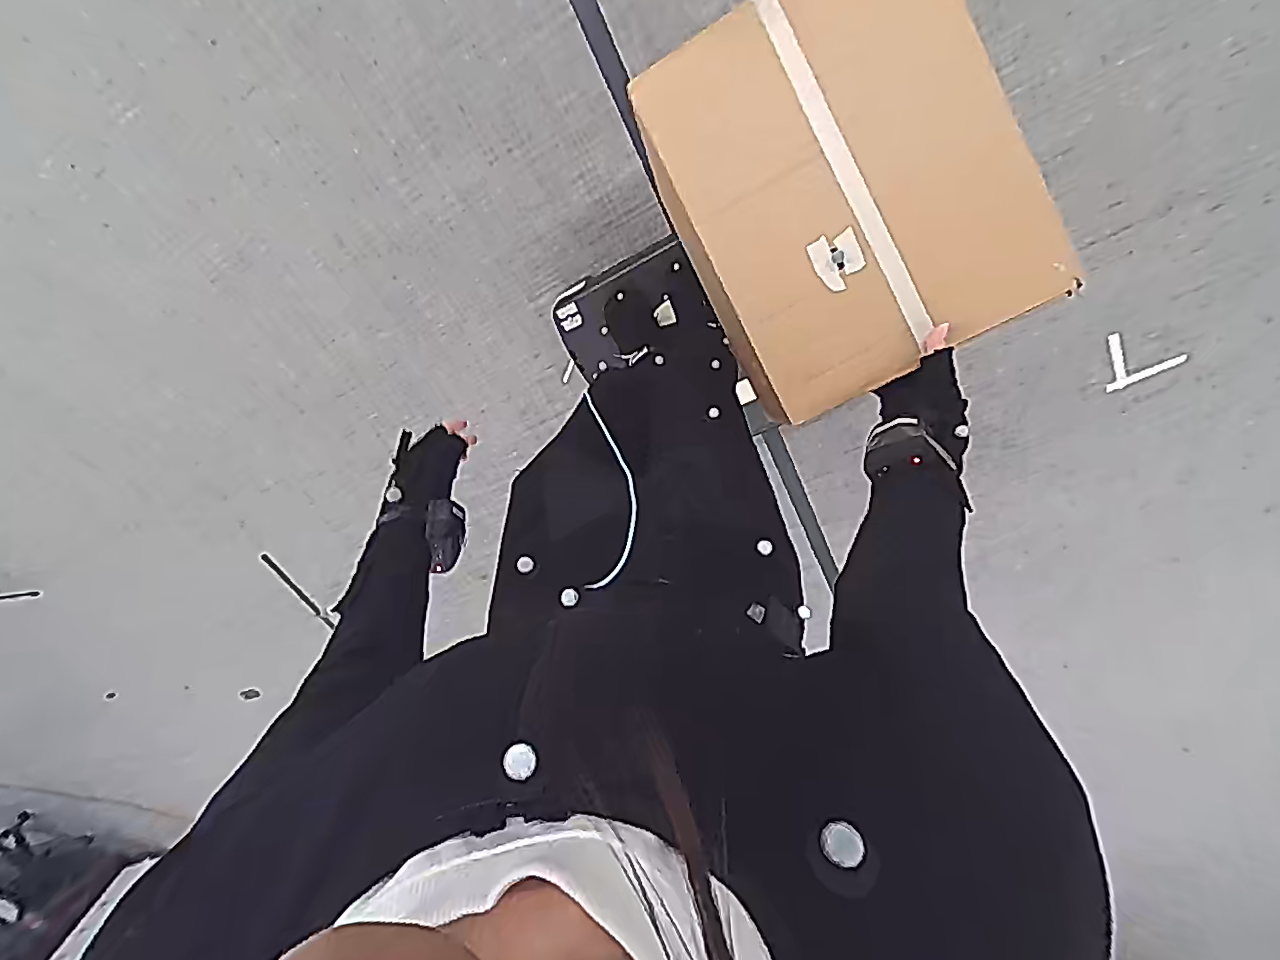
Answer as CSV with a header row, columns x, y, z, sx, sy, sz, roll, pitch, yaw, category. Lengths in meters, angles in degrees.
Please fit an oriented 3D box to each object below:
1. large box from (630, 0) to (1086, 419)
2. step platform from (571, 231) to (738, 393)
x,y,z,sx,sy,sz,roll,pitch,yaw,category
0.235,-0.329,0.693,0.320,0.320,0.408,-27,94,13,large box
0.173,-0.478,1.291,0.684,0.204,0.286,-24,115,18,step platform
